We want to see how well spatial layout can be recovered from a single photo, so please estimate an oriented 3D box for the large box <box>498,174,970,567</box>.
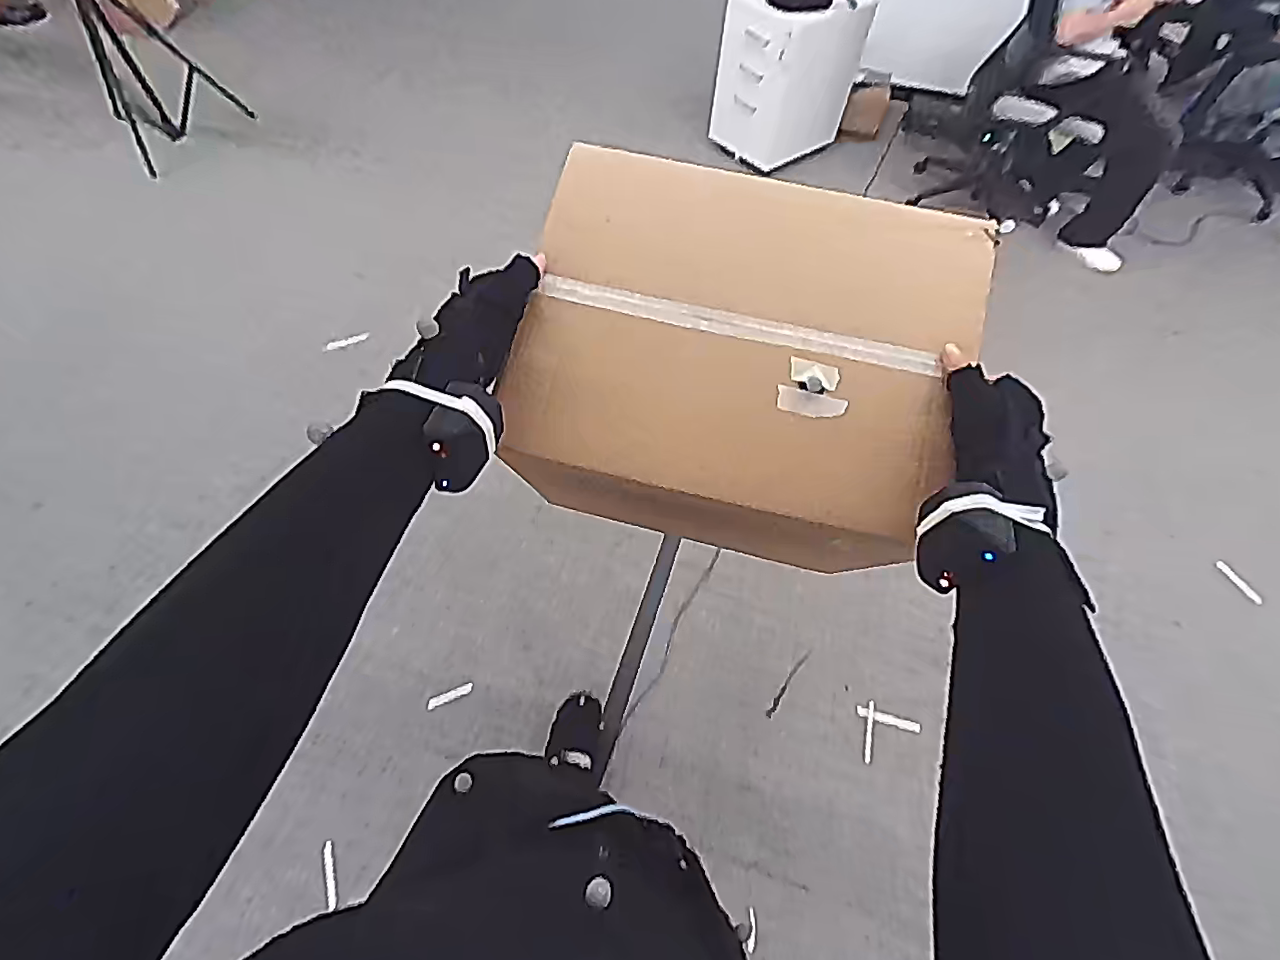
[{"bbox_3d":[0.095,-0.095,0.651,0.408,0.320,0.320,13,79,3],"label":"large box"}]
